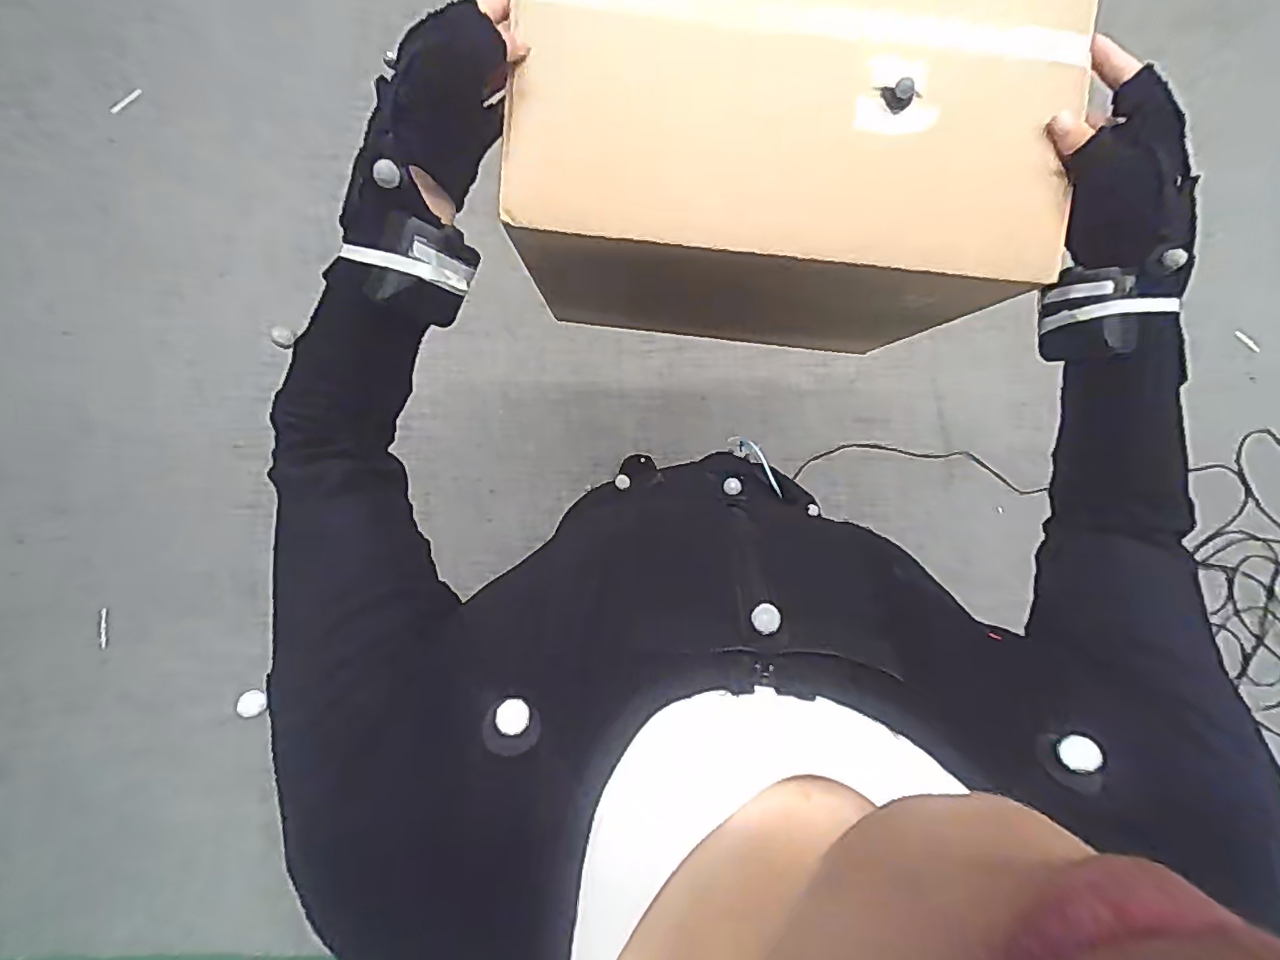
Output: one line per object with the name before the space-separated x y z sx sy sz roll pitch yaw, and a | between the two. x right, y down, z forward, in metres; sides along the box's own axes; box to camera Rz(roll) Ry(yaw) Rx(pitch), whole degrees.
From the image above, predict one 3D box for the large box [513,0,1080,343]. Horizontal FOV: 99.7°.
large box | 0.110 -0.332 0.536 0.408 0.320 0.320 5 94 -2
